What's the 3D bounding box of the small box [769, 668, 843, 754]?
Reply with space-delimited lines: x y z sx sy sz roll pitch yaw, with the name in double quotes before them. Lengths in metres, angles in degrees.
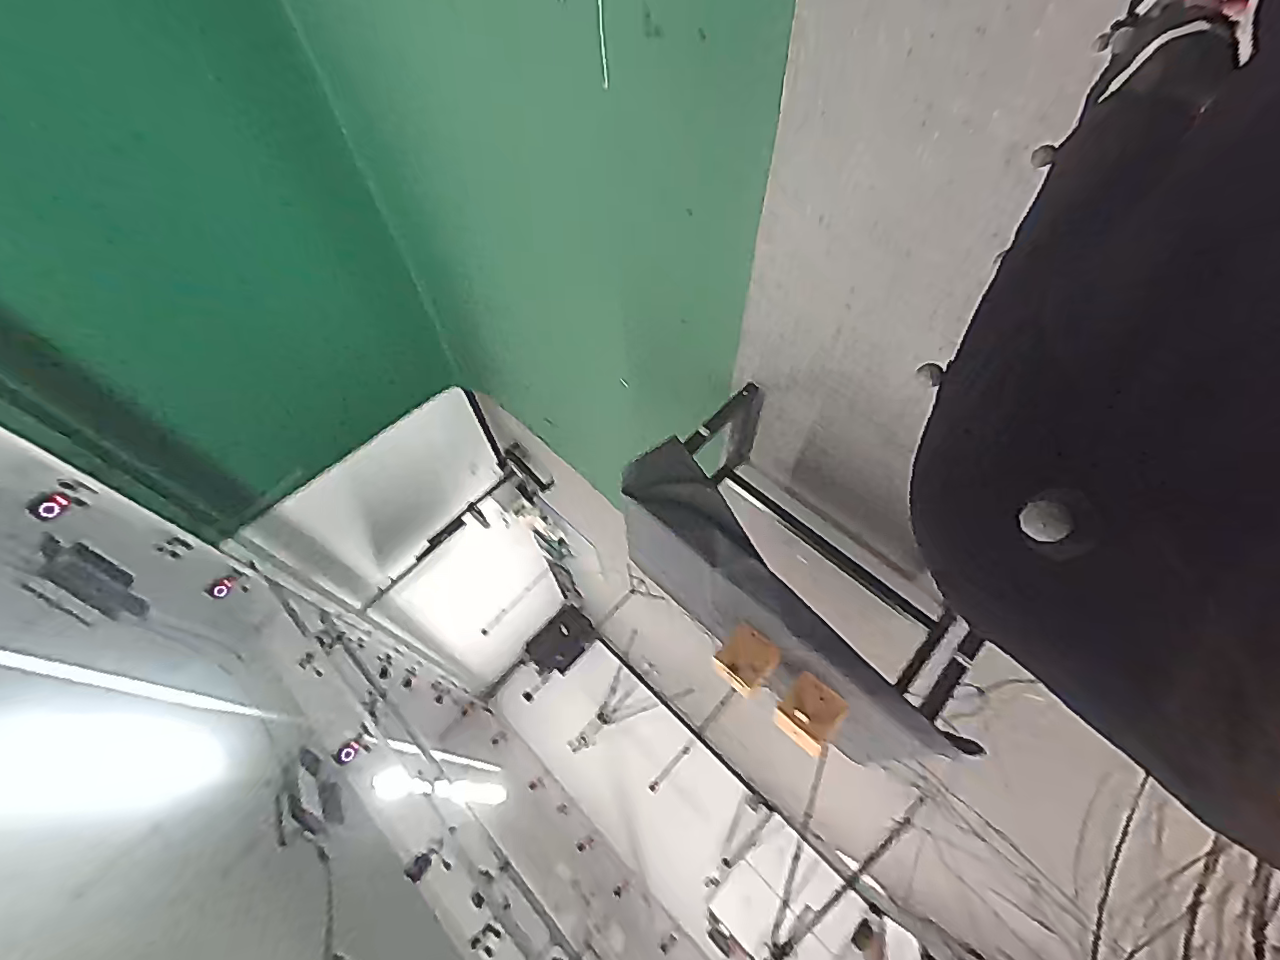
"small box" 0.542 0.754 1.770 0.168 0.176 0.179 35 155 32
